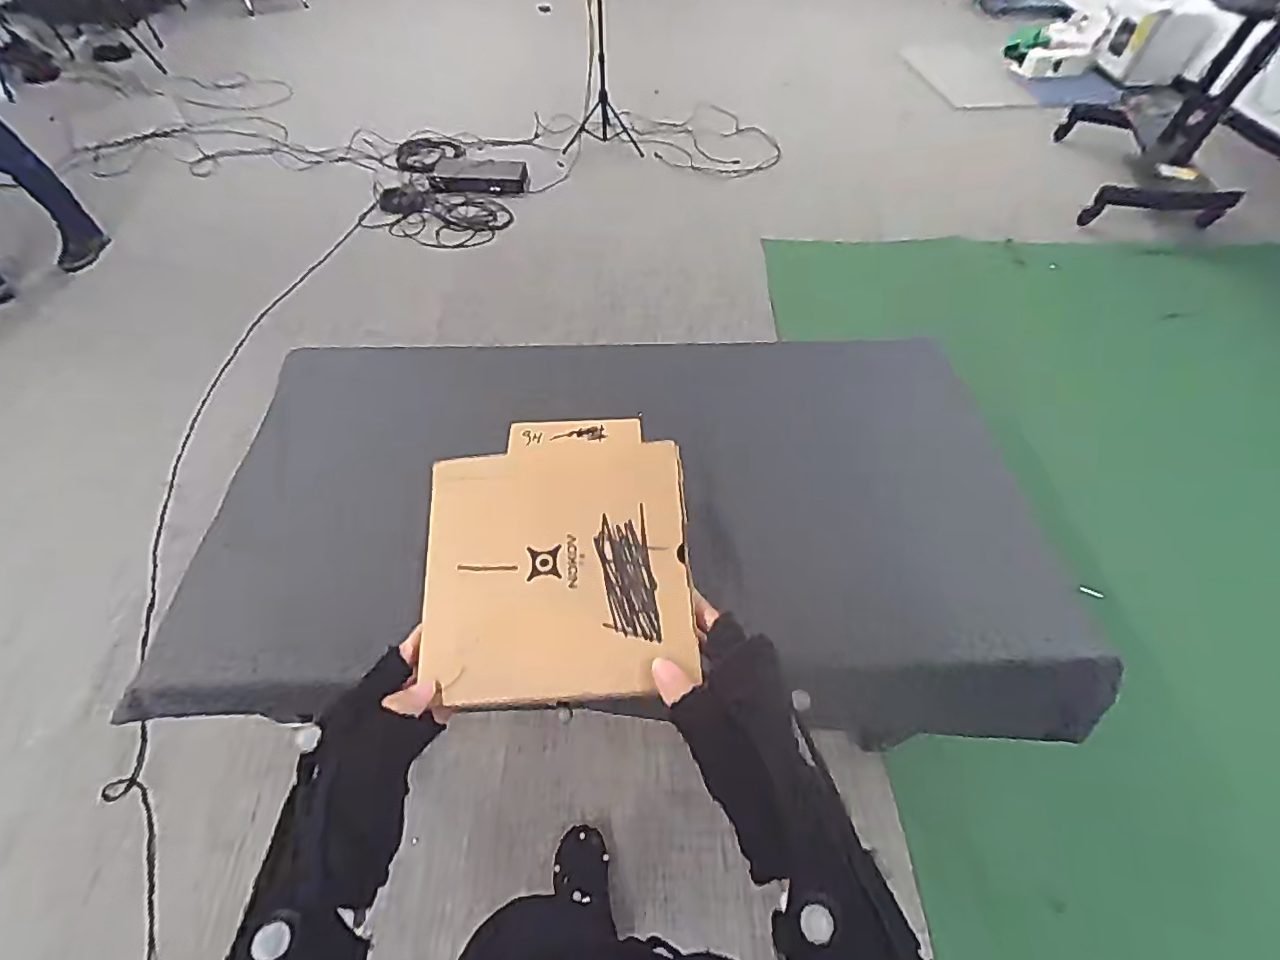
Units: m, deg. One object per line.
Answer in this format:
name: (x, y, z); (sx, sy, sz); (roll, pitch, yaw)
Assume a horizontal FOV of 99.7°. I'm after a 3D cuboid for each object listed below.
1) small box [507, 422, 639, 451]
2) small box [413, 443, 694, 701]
small box: (-0.080, 0.045, 0.704); (0.168, 0.176, 0.179); (-2, 55, -3)
small box: (-0.055, 0.082, 0.433); (0.179, 0.176, 0.168); (-4, 69, 1)
